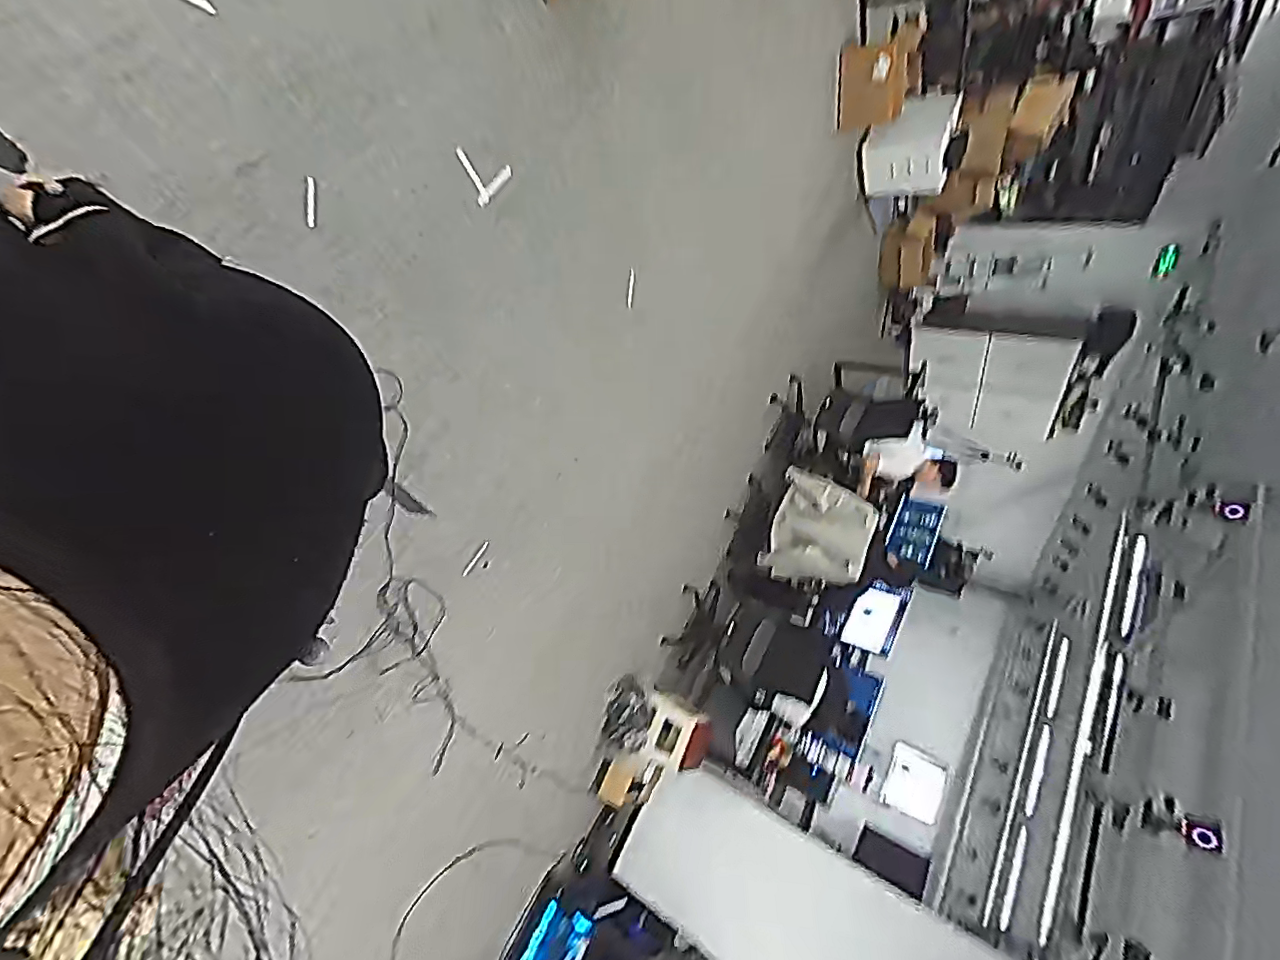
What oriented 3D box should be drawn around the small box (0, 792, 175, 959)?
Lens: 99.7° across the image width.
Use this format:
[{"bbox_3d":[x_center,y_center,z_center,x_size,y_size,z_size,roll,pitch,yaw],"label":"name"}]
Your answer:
[{"bbox_3d":[-0.653,0.457,0.557,0.179,0.176,0.168,-57,143,-23],"label":"small box"}]
